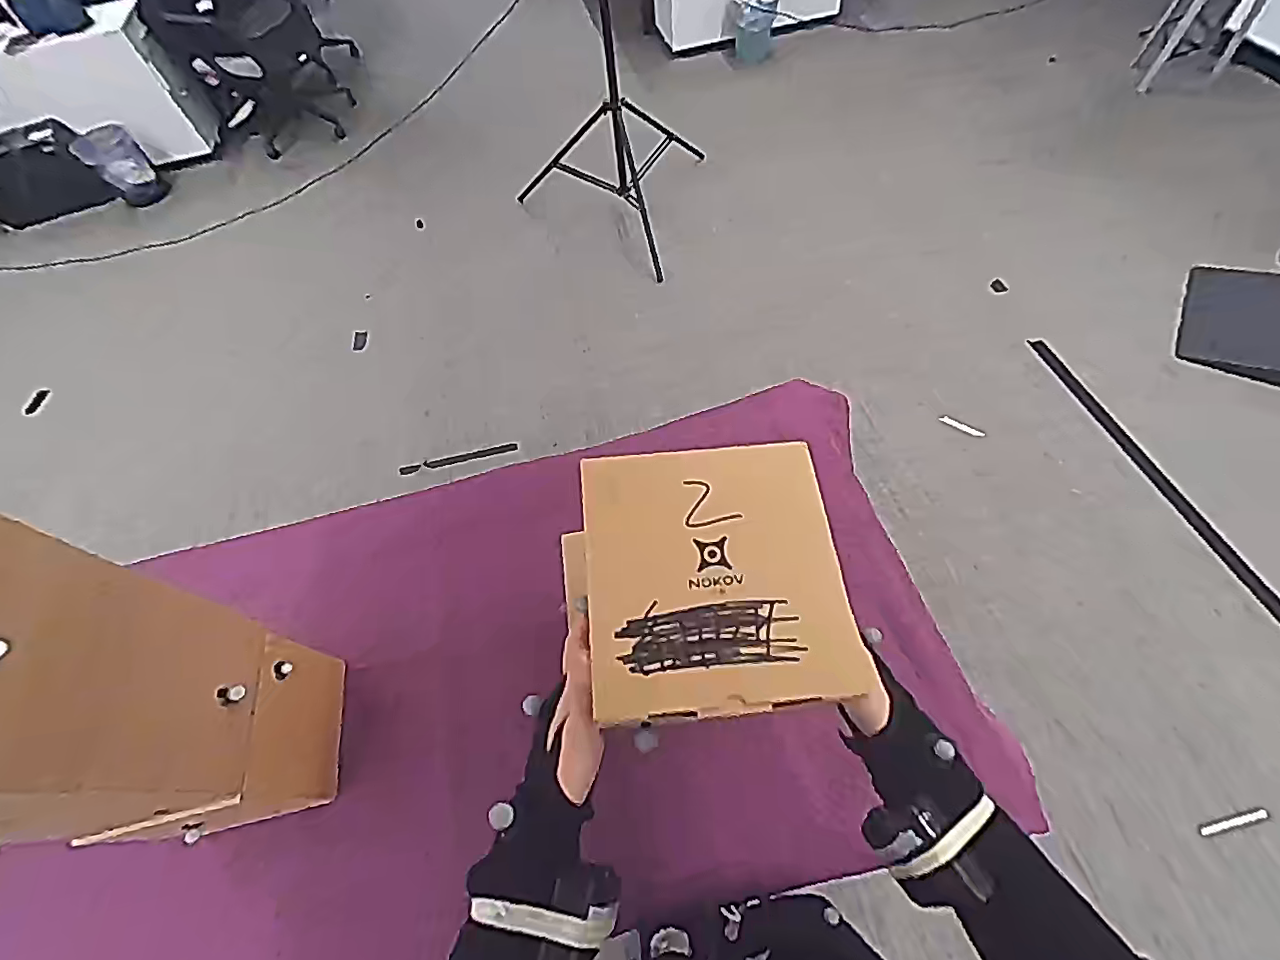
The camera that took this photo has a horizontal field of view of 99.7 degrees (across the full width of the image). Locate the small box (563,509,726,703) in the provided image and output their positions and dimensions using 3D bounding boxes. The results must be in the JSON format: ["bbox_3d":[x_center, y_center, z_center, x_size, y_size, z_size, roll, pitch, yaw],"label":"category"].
[{"bbox_3d":[0.005,0.160,0.669,0.168,0.176,0.179,-10,59,1],"label":"small box"}]

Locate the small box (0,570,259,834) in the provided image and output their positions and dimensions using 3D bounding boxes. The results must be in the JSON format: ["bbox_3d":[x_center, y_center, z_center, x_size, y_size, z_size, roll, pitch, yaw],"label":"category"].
[{"bbox_3d":[-0.494,0.210,0.500,0.168,0.176,0.179,-14,58,-3],"label":"small box"}]

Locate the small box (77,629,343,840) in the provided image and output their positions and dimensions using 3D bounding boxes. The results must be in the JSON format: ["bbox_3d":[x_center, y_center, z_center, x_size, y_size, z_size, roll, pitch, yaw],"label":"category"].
[{"bbox_3d":[-0.478,0.299,0.637,0.168,0.176,0.179,-14,59,-2],"label":"small box"}]
